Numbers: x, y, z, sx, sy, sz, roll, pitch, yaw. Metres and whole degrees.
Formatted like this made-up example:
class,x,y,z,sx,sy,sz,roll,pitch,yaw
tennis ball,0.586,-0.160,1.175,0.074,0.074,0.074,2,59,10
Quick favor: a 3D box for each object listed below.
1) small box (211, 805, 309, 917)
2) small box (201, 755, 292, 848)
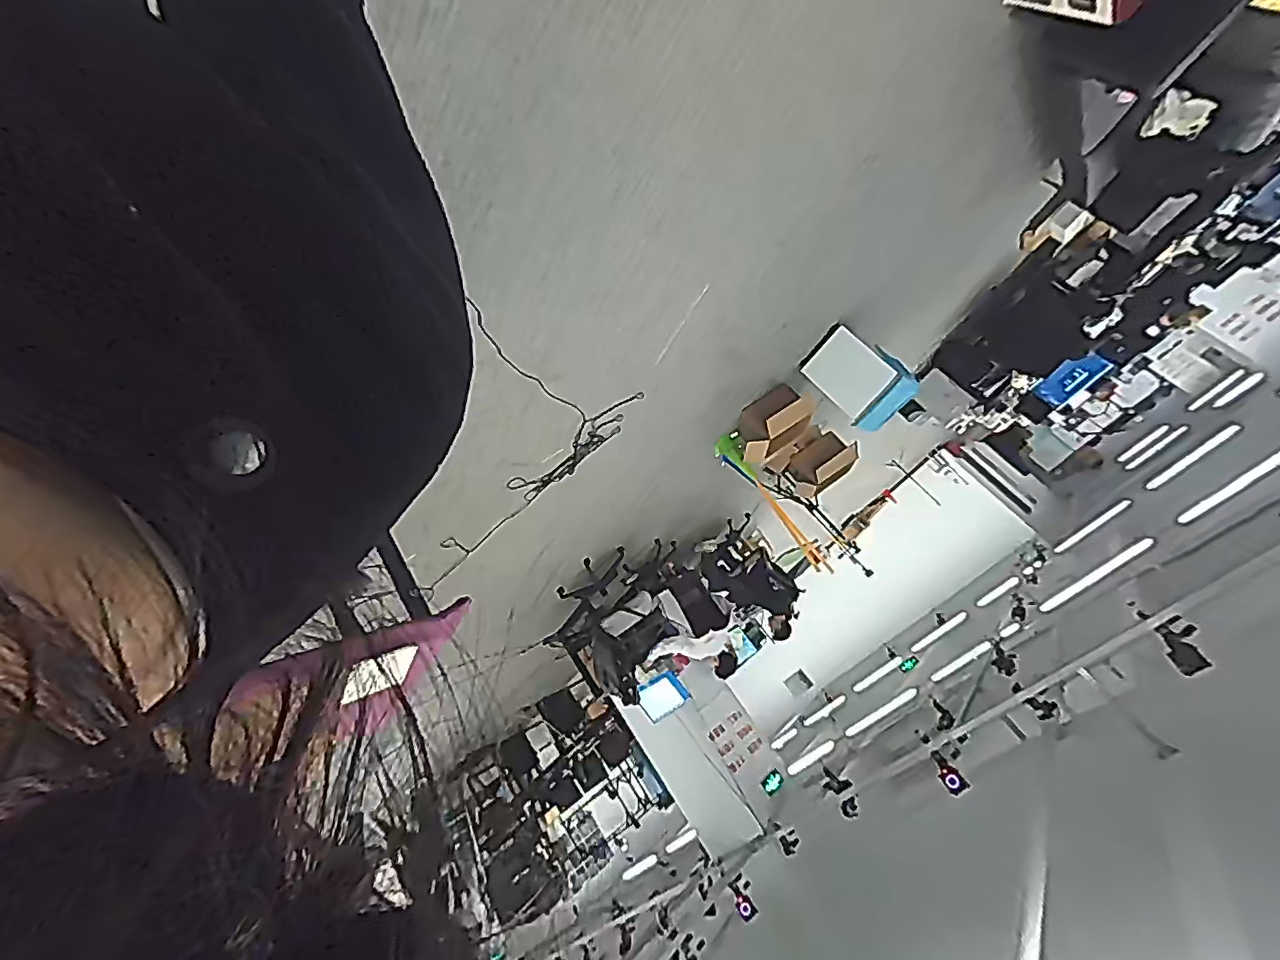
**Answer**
class,x,y,z,sx,sy,sz,roll,pitch,yaw
small box,-1.063,1.052,1.509,0.179,0.176,0.168,-6,139,-50
small box,-1.154,0.940,1.581,0.168,0.176,0.179,-4,137,-52
